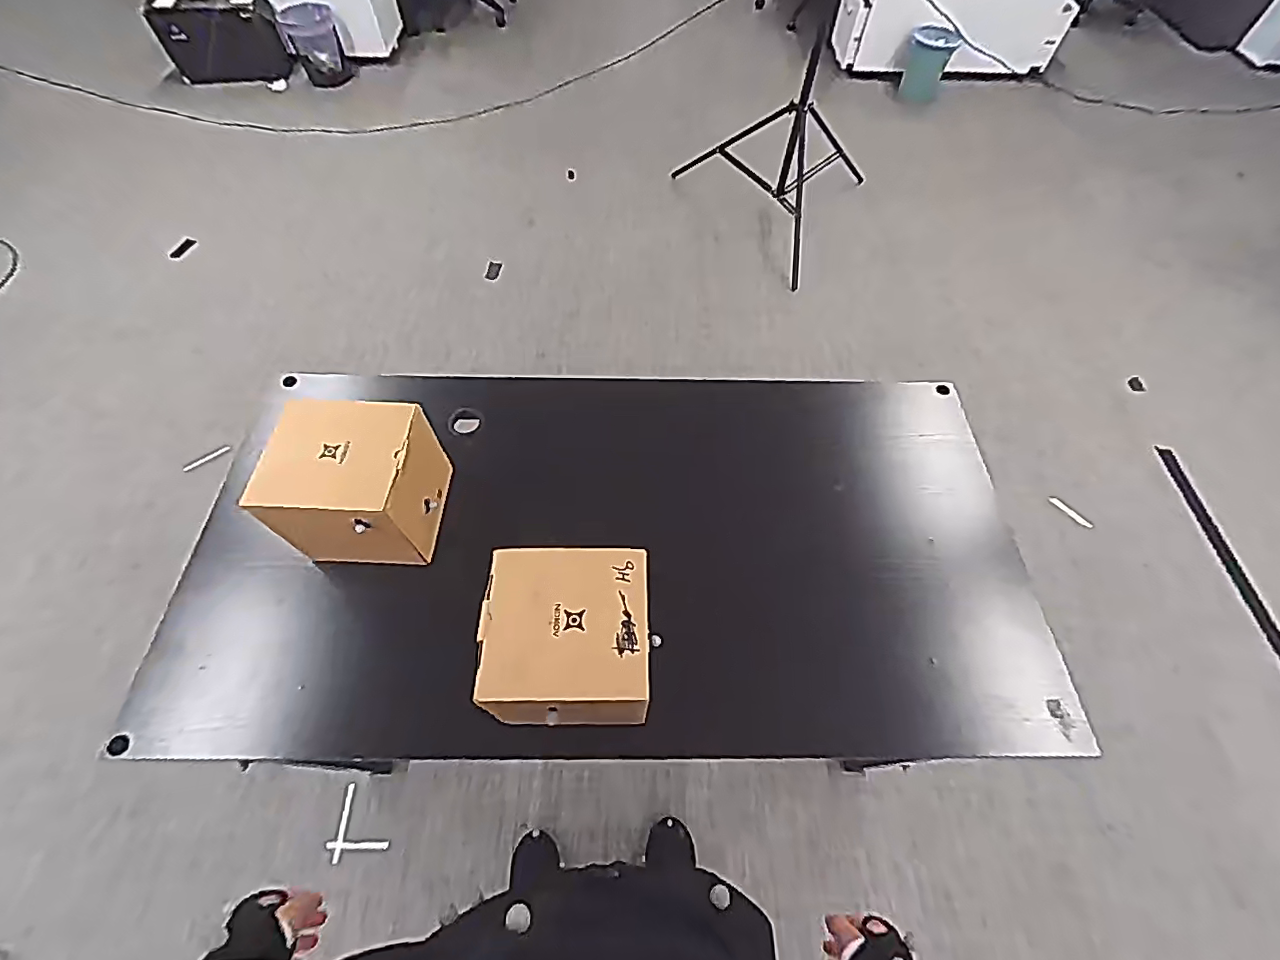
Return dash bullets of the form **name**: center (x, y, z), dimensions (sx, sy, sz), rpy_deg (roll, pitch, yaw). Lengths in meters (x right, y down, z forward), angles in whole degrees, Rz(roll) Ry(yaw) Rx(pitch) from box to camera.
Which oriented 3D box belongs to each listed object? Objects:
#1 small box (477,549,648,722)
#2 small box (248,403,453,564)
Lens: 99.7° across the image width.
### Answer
- **small box**: center (-0.079, 0.193, 0.654), dimensions (0.179, 0.176, 0.168), rpy_deg (0, 59, -1)
- **small box**: center (-0.384, 0.010, 0.757), dimensions (0.179, 0.176, 0.168), rpy_deg (2, 59, -1)
